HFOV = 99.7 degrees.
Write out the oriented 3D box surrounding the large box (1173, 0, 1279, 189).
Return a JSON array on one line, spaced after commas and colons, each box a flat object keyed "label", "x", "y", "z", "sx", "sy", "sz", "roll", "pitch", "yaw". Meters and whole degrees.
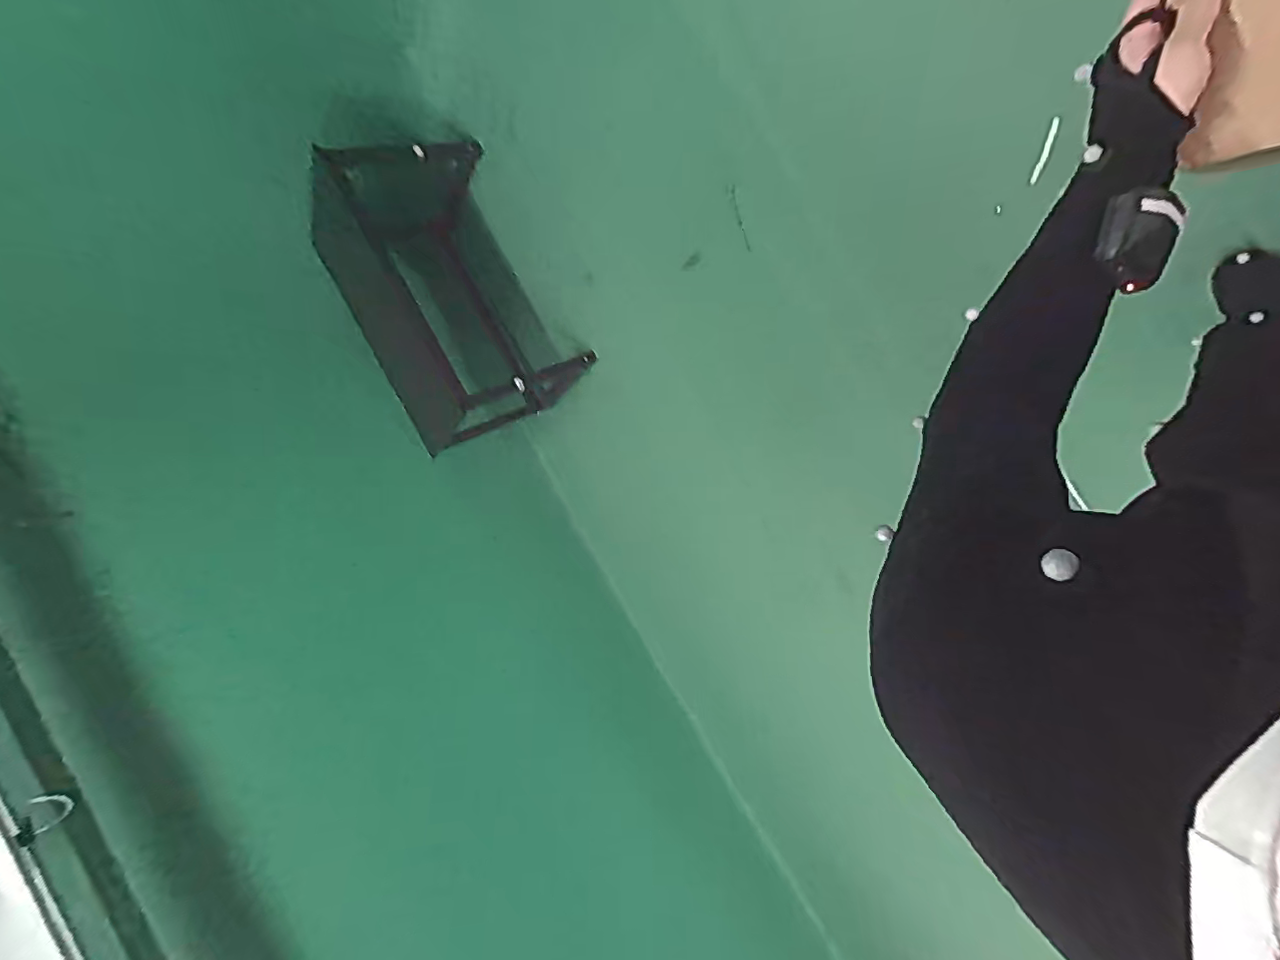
[{"label": "large box", "x": 0.656, "y": -0.438, "z": 0.373, "sx": 0.408, "sy": 0.320, "sz": 0.320, "roll": 4, "pitch": 112, "yaw": 46}]
